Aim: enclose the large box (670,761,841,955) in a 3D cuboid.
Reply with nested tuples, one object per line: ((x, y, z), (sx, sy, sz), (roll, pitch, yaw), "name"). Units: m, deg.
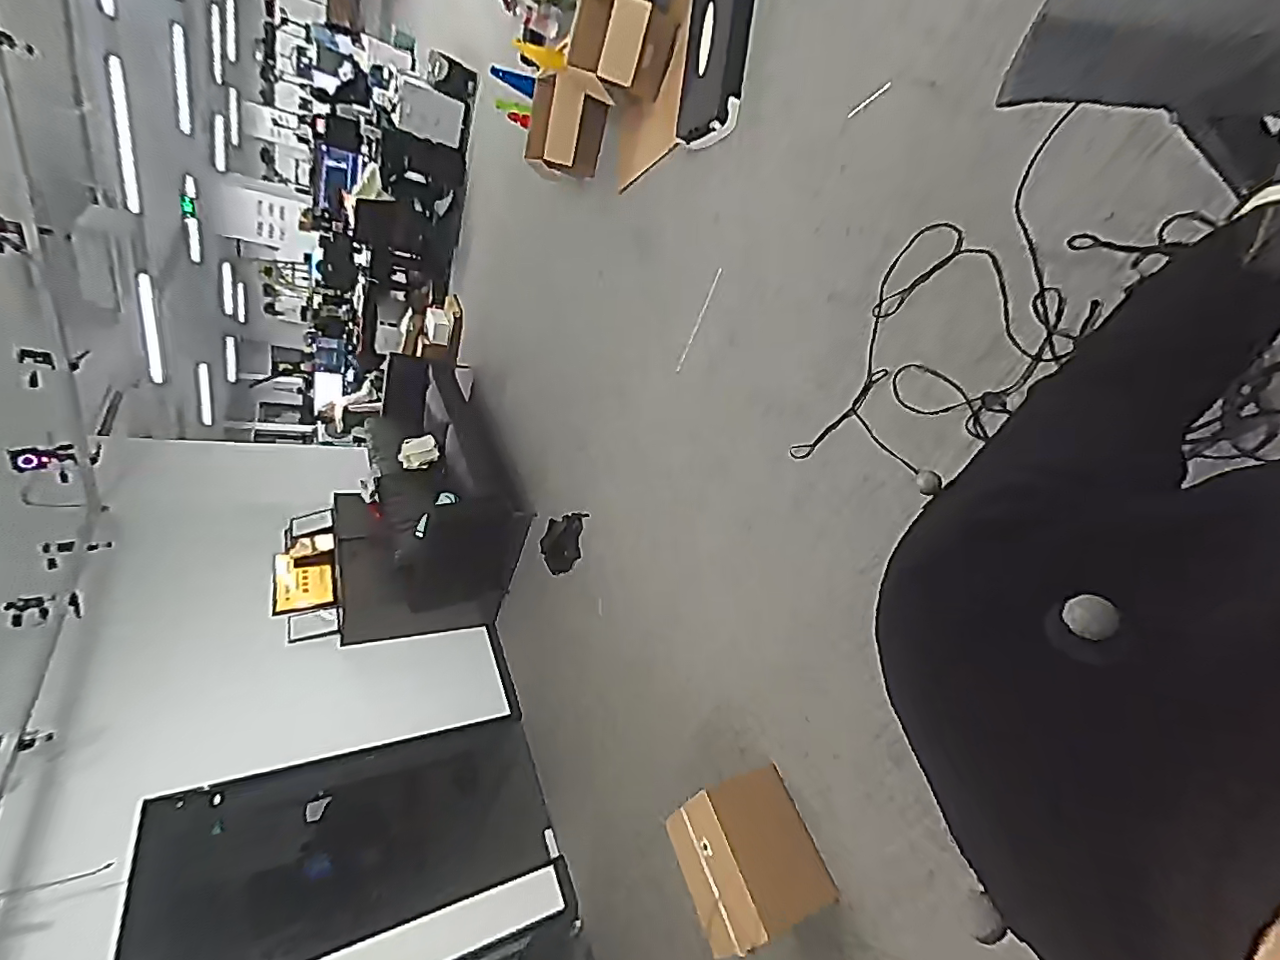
((0.362, 1.212, 1.762), (0.320, 0.320, 0.408), (-61, 41, 36), "large box")
